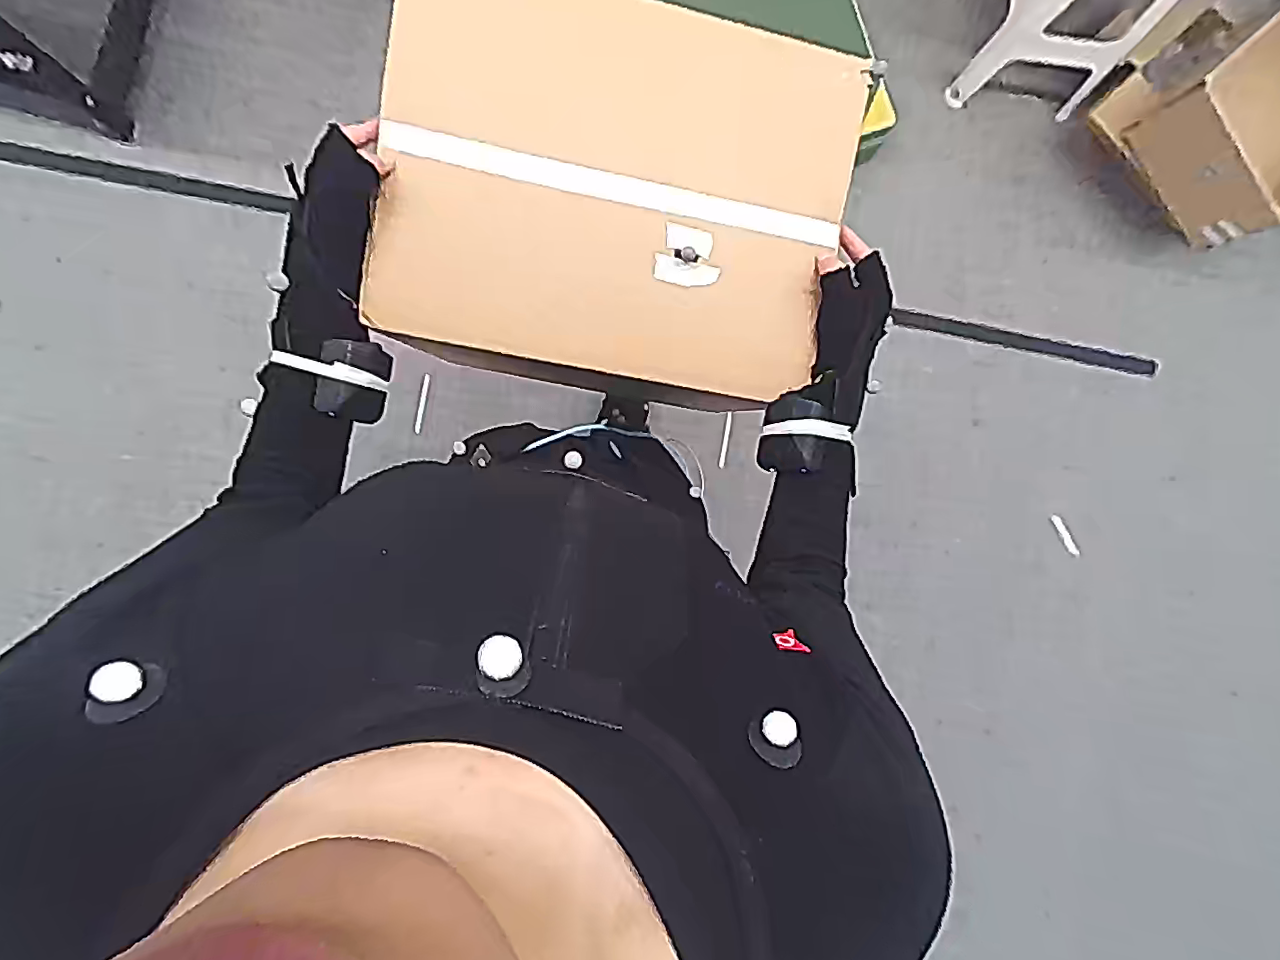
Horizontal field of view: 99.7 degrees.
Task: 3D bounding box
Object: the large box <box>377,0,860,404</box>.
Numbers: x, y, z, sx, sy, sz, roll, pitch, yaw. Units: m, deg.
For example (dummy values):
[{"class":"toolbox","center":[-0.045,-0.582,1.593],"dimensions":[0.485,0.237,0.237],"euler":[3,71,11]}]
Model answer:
[{"class":"large box","center":[-0.033,-0.274,0.629],"dimensions":[0.408,0.320,0.320],"euler":[9,96,-8]}]
